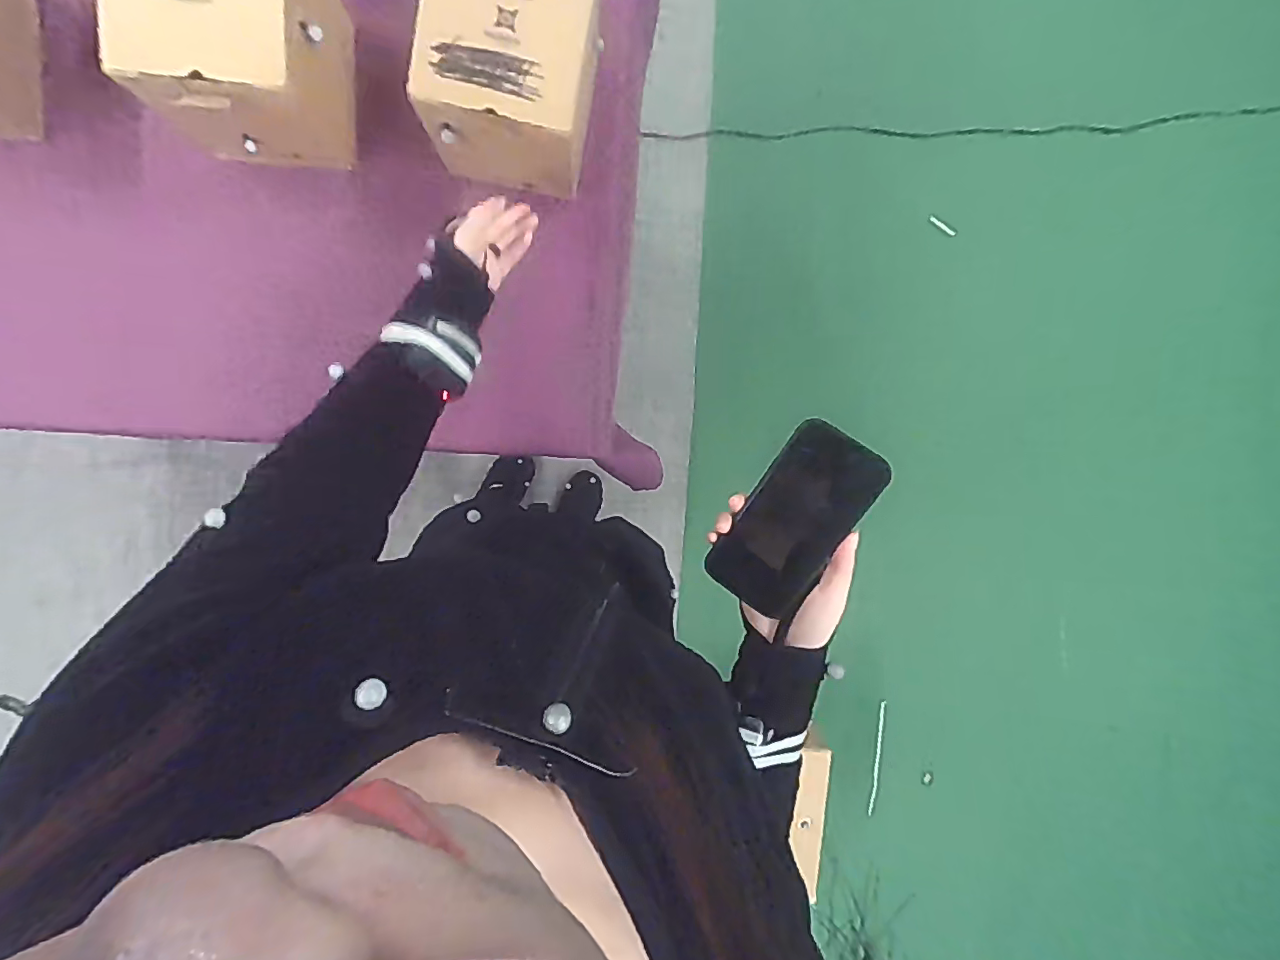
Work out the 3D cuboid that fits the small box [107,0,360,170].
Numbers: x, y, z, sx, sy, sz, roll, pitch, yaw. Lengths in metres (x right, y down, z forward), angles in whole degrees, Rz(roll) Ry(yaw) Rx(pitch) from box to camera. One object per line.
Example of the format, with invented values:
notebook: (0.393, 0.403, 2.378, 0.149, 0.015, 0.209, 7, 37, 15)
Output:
small box: (-0.427, -0.477, 0.595, 0.168, 0.176, 0.179, 2, 96, -6)
